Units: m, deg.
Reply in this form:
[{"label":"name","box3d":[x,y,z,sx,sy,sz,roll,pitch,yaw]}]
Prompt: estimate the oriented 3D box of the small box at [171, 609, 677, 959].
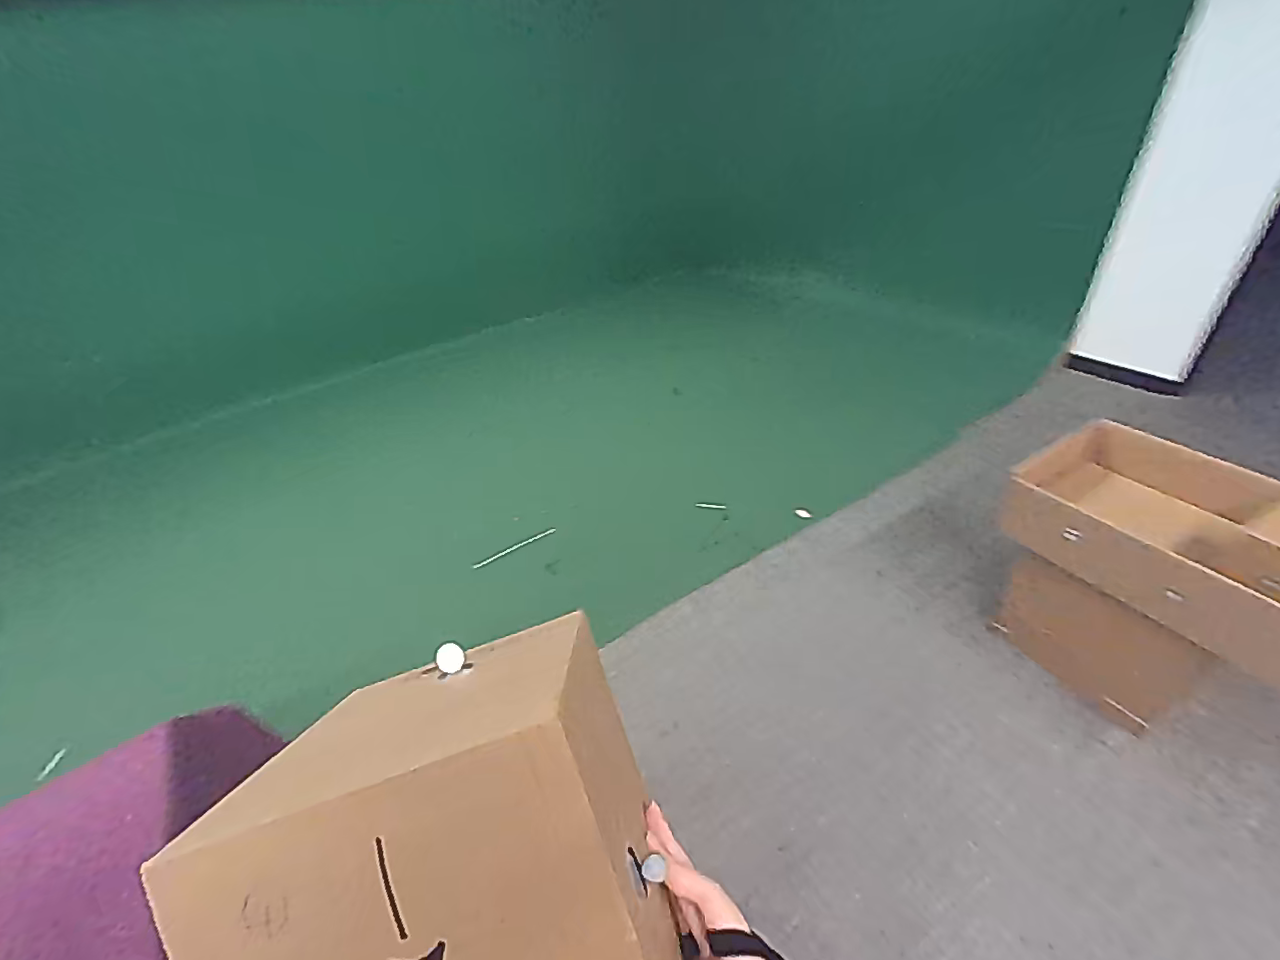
[{"label":"small box","box3d":[-0.081,0.191,0.292,0.168,0.179,0.176,-18,0,-2]}]
